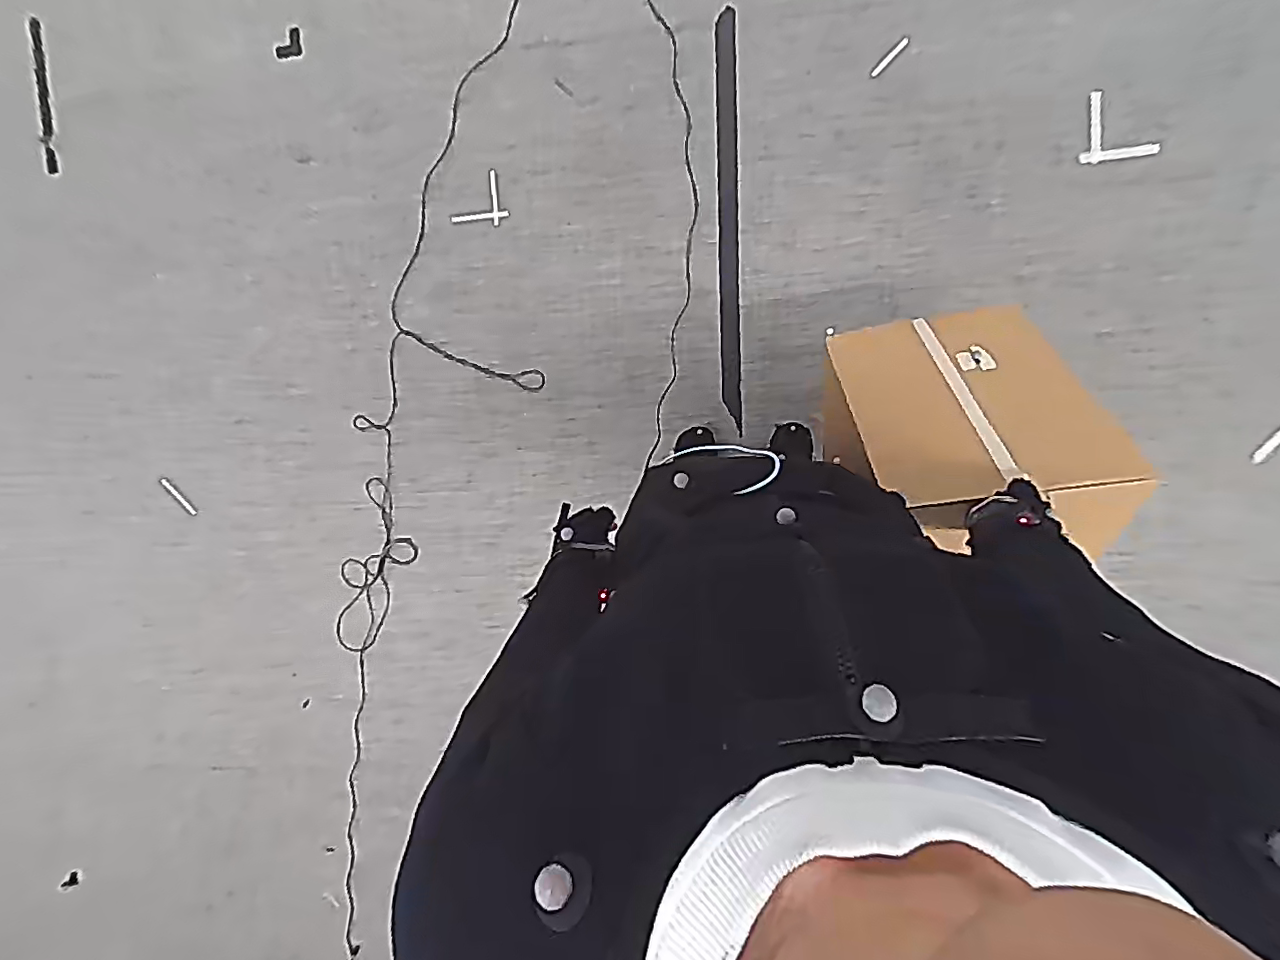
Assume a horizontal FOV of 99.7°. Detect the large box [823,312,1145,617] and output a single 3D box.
[{"bbox_3d":[0.518,-0.027,0.936,0.320,0.408,0.320,-8,136,9],"label":"large box"}]
